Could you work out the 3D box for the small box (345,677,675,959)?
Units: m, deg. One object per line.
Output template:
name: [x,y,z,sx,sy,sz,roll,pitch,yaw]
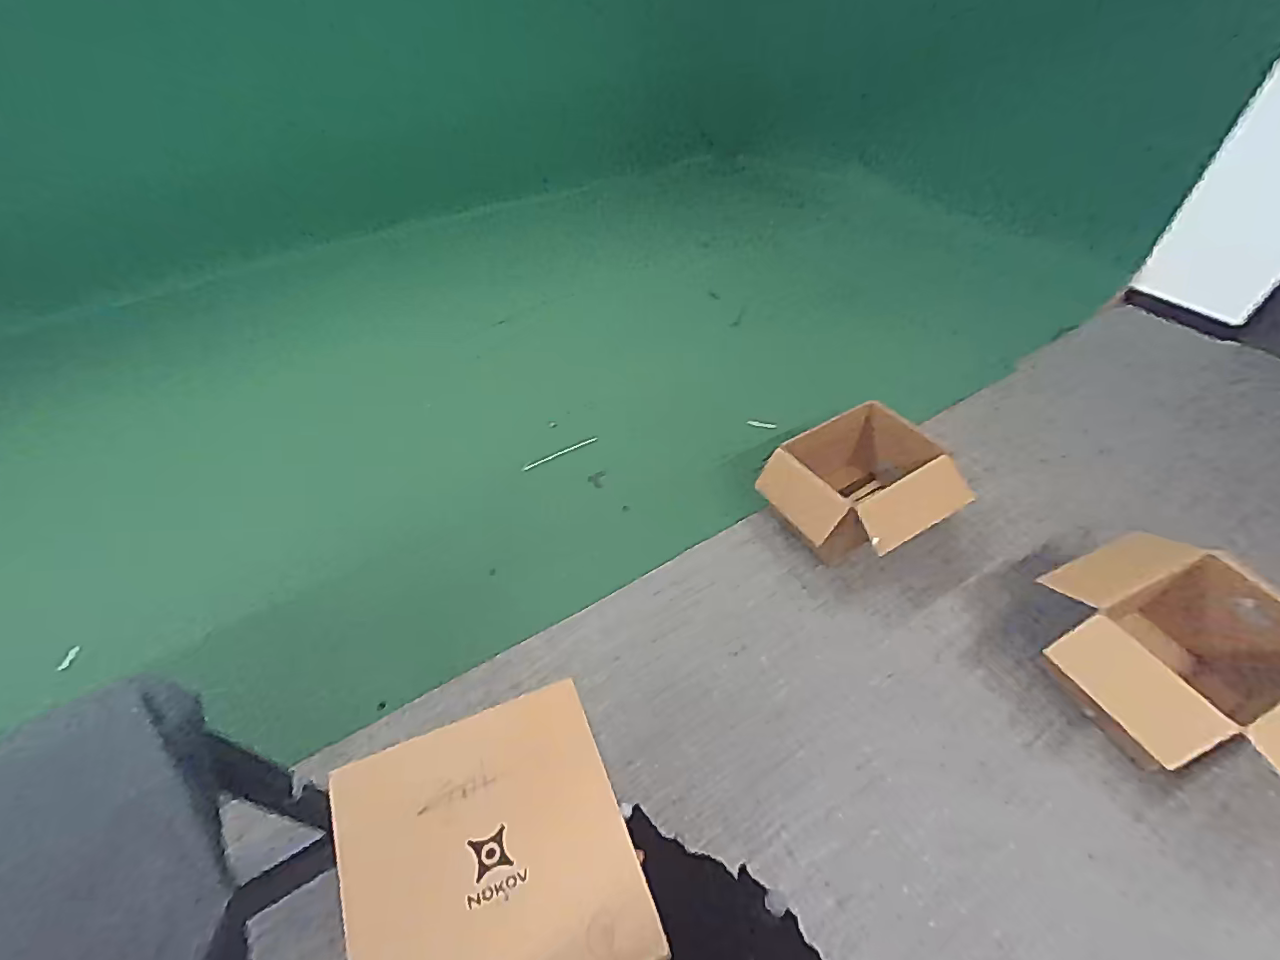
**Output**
small box: [-0.095,0.276,0.390,0.168,0.176,0.179,-13,56,-21]
